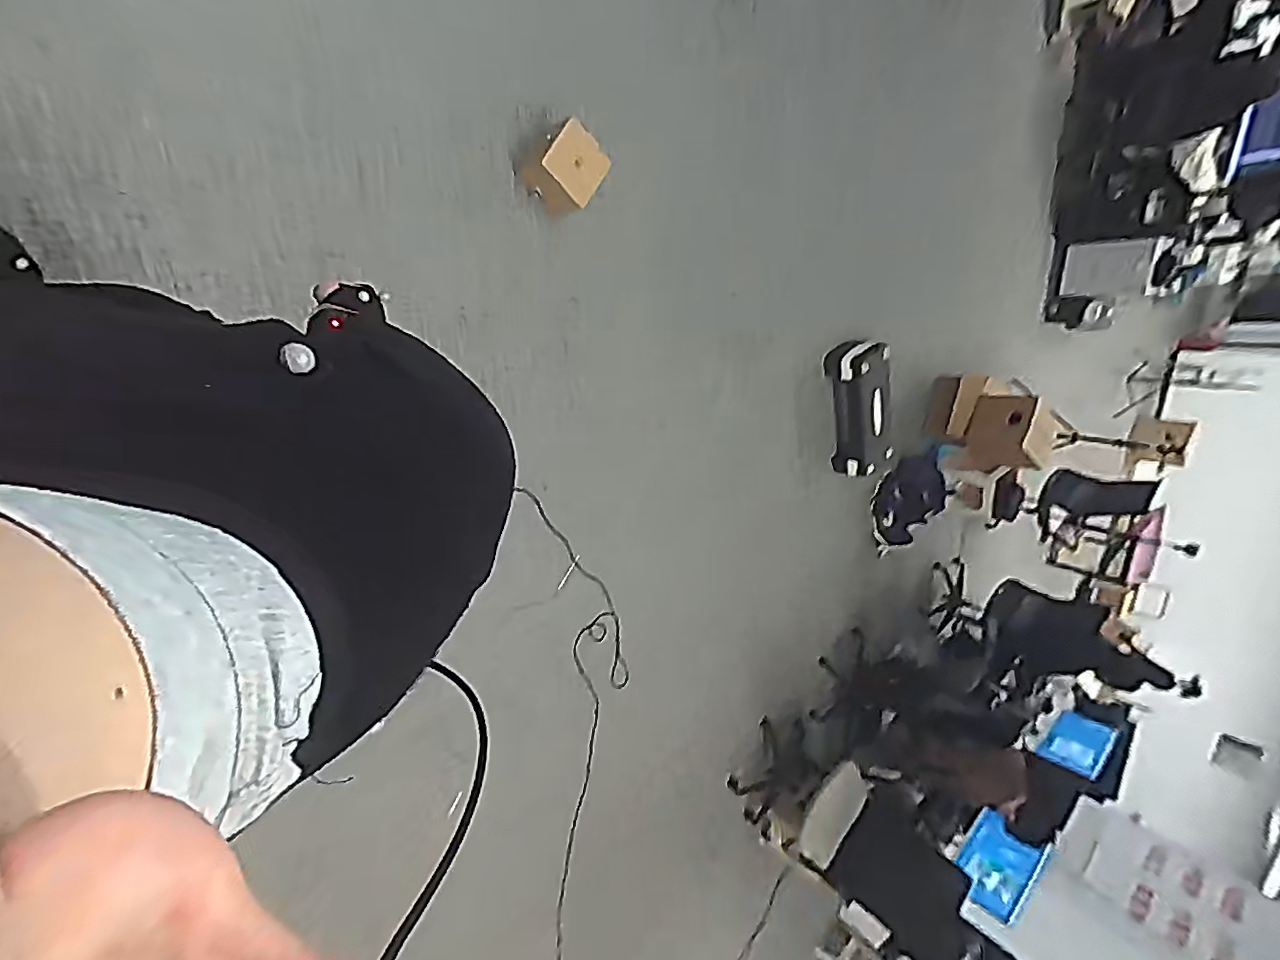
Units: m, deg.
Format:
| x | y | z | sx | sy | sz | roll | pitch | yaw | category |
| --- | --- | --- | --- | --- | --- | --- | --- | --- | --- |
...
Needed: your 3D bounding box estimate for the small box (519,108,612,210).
| x | y | z | sx | sy | sz | roll | pitch | yaw | category |
| --- | --- | --- | --- | --- | --- | --- | --- | --- | --- |
| -0.220 | -0.912 | 1.554 | 0.168 | 0.176 | 0.179 | 35 | 80 | -39 | small box |
